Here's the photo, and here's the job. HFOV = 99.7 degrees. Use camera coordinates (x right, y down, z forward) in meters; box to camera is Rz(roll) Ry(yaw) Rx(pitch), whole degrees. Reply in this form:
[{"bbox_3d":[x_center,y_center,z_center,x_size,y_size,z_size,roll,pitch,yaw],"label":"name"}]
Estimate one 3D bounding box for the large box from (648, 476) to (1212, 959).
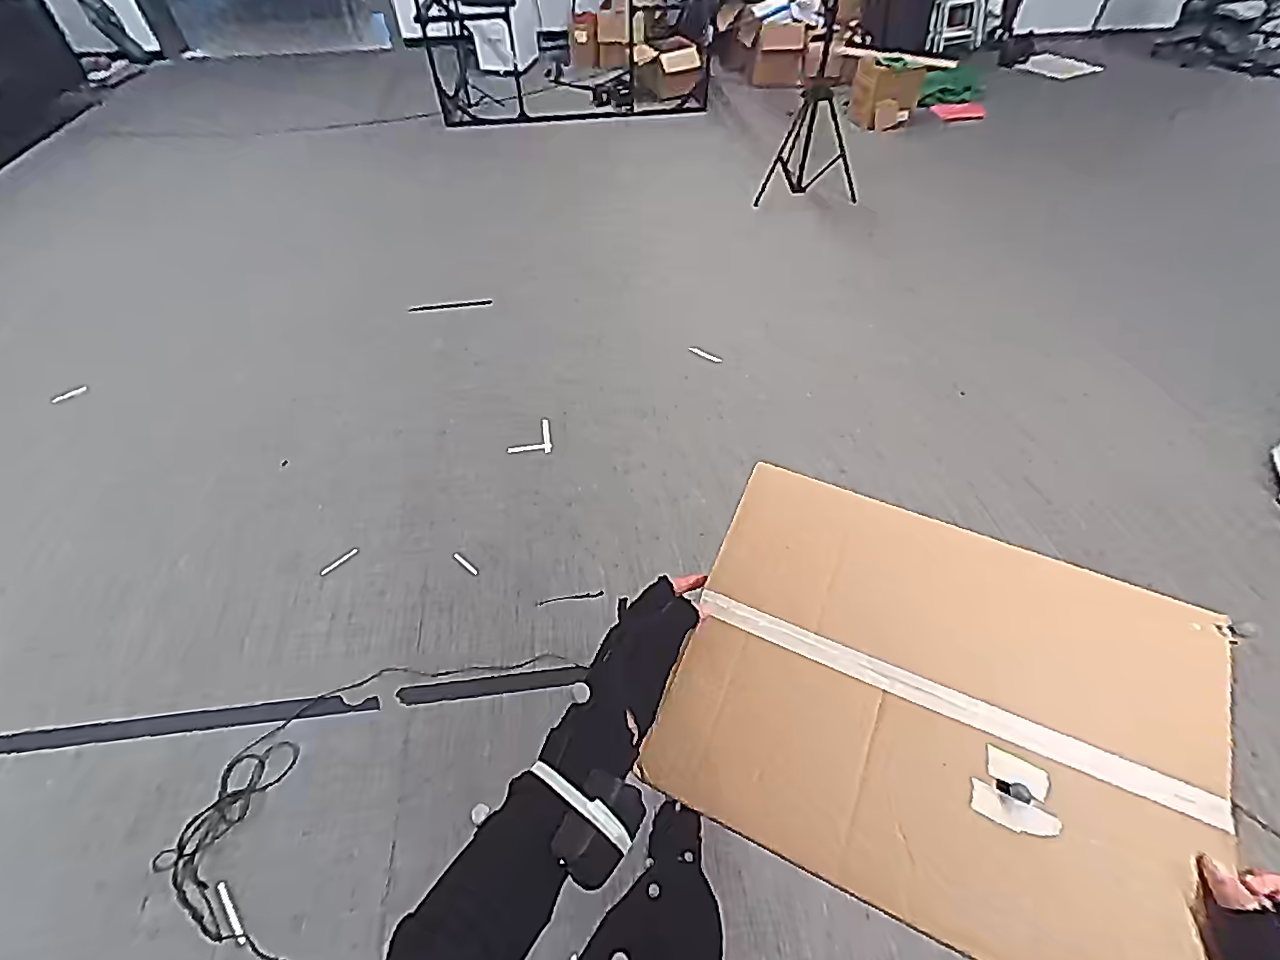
[{"bbox_3d":[0.257,0.250,0.589,0.408,0.320,0.320,20,67,16],"label":"large box"}]
